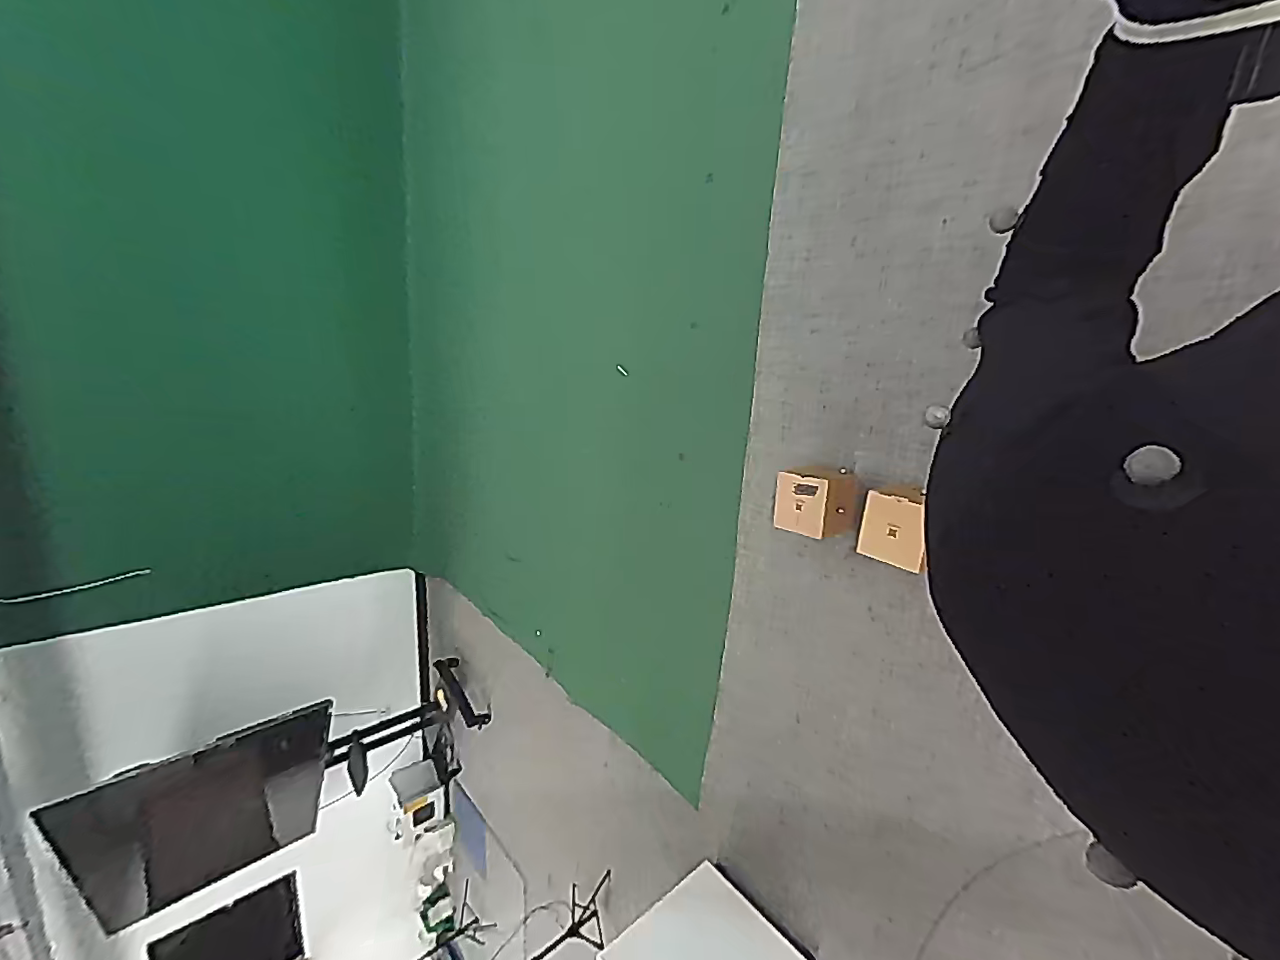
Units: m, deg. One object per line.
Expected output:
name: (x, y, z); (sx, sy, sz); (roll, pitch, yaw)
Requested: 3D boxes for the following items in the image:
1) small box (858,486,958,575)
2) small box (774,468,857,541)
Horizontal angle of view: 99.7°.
small box: (0.698, 0.124, 1.407); (0.168, 0.176, 0.179); (20, 110, 46)
small box: (0.522, 0.066, 1.601); (0.168, 0.176, 0.179); (16, 107, 47)
